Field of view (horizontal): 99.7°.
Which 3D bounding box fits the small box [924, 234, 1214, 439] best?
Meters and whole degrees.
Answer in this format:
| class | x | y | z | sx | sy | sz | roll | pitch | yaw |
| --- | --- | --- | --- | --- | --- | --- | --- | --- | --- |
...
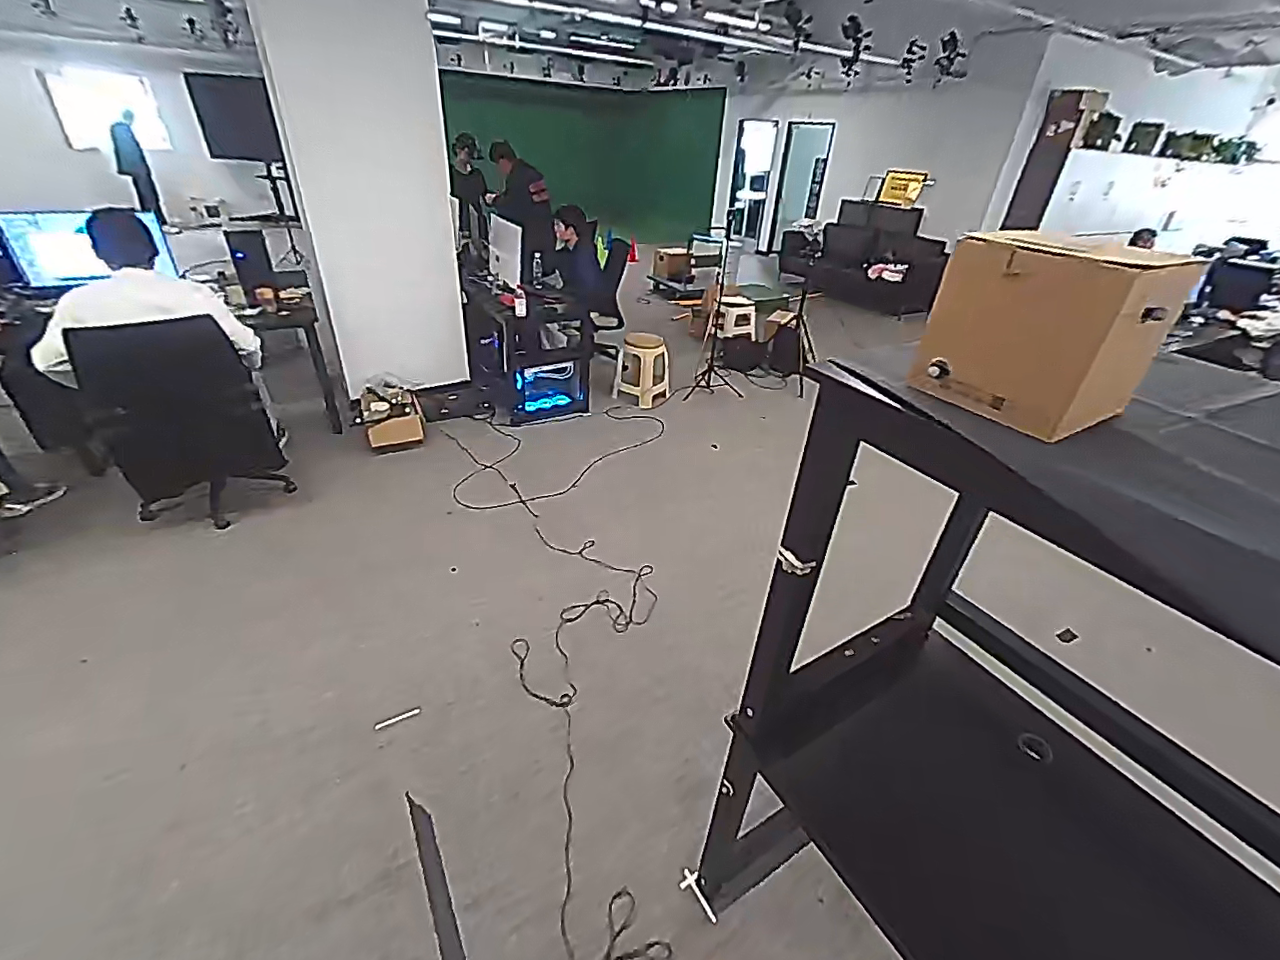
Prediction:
| class | x | y | z | sx | sy | sz | roll | pitch | yaw |
| --- | --- | --- | --- | --- | --- | --- | --- | --- | --- |
| small box | 0.440 | -0.159 | 0.583 | 0.179 | 0.176 | 0.168 | -16 | 38 | -29 |
